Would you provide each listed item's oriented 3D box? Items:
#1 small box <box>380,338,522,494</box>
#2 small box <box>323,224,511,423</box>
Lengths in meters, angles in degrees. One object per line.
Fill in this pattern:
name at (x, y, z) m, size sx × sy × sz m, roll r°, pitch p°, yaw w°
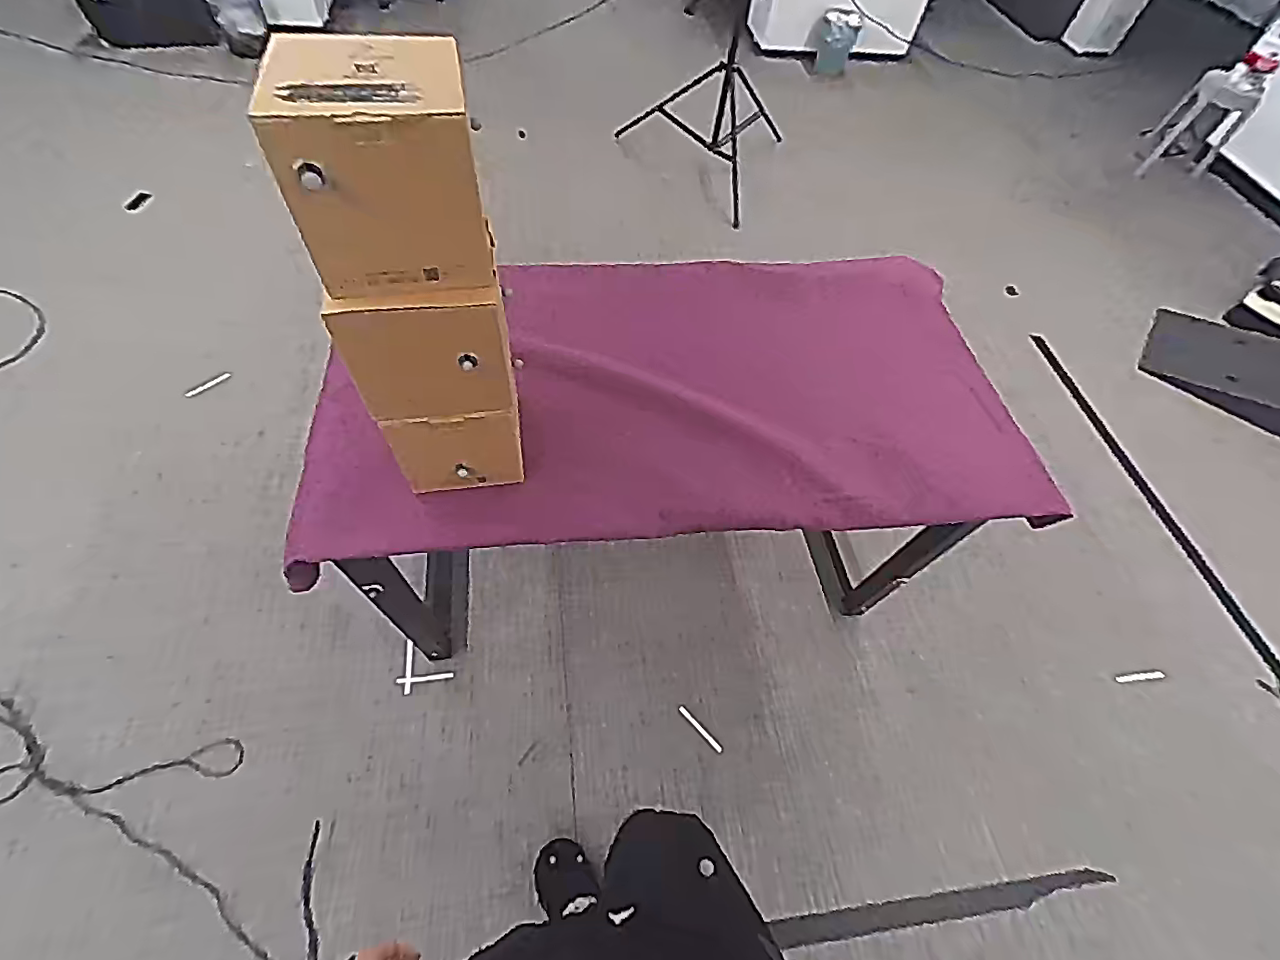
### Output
small box at (-0.270, -0.101, 0.804) m, size 0.168 × 0.176 × 0.179 m, roll -6°, pitch 58°, yaw -9°
small box at (-0.258, -0.189, 0.669) m, size 0.179 × 0.176 × 0.168 m, roll -8°, pitch 57°, yaw -10°
